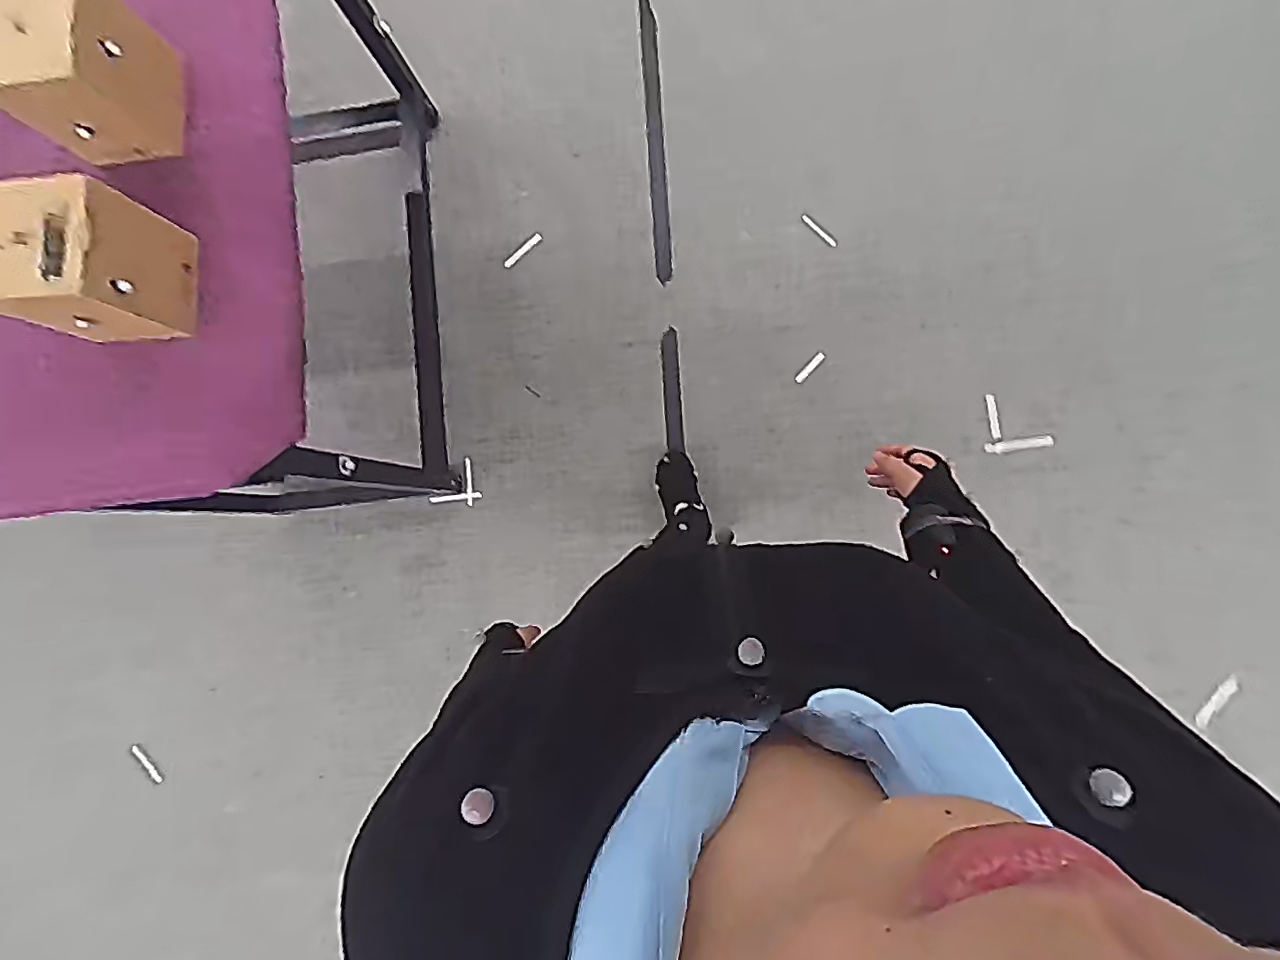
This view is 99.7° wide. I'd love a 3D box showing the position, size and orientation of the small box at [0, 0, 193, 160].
[{"bbox_3d":[-0.832,-0.619,0.826,0.168,0.176,0.179,-2,85,5],"label":"small box"}]
